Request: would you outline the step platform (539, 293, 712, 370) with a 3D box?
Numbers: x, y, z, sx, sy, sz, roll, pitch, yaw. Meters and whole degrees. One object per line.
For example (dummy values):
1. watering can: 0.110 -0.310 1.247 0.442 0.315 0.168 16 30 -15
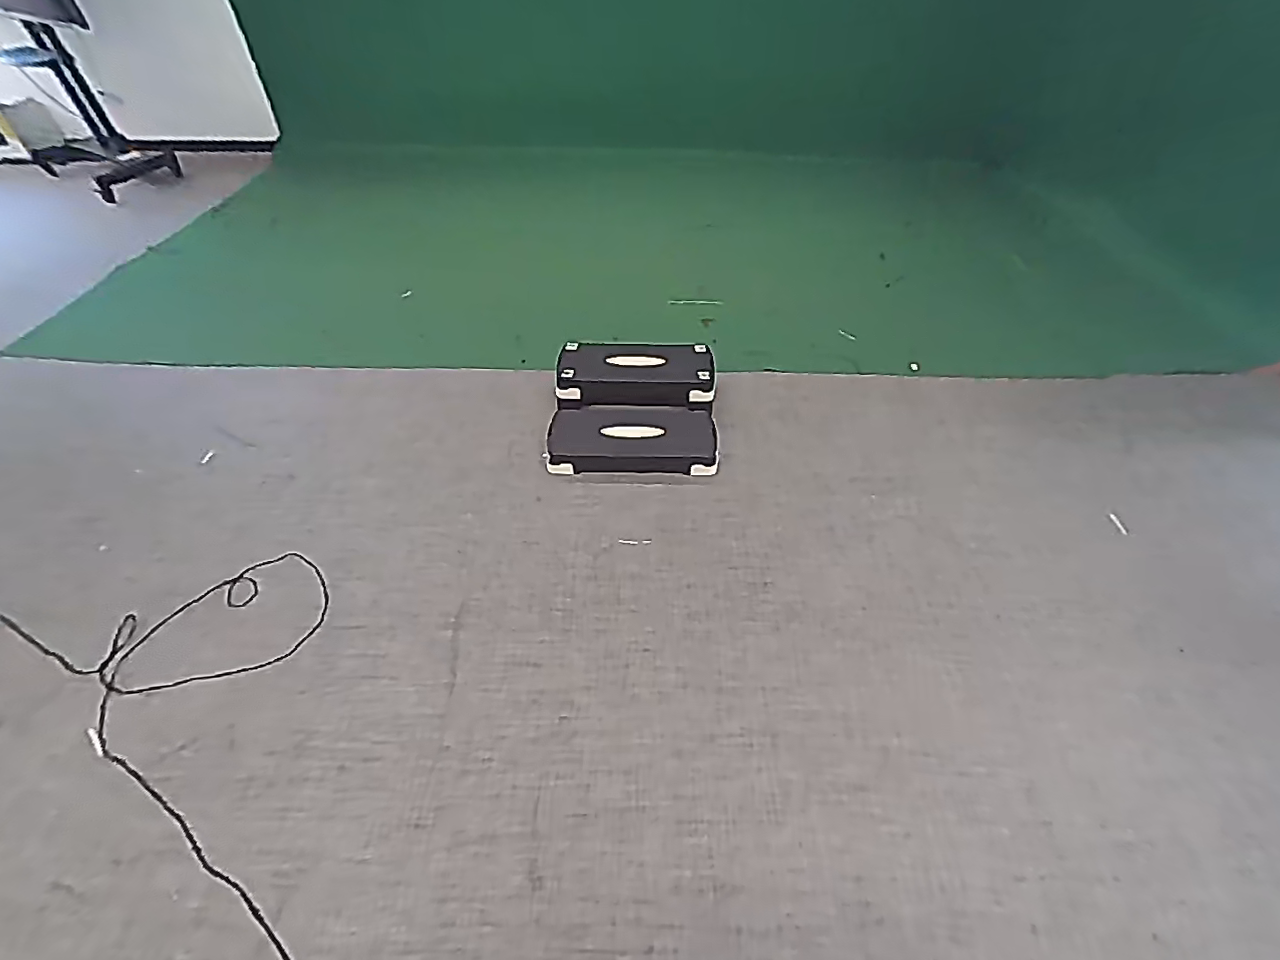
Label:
1. step platform: -0.057 -0.606 2.212 0.684 0.204 0.286 0 47 0
